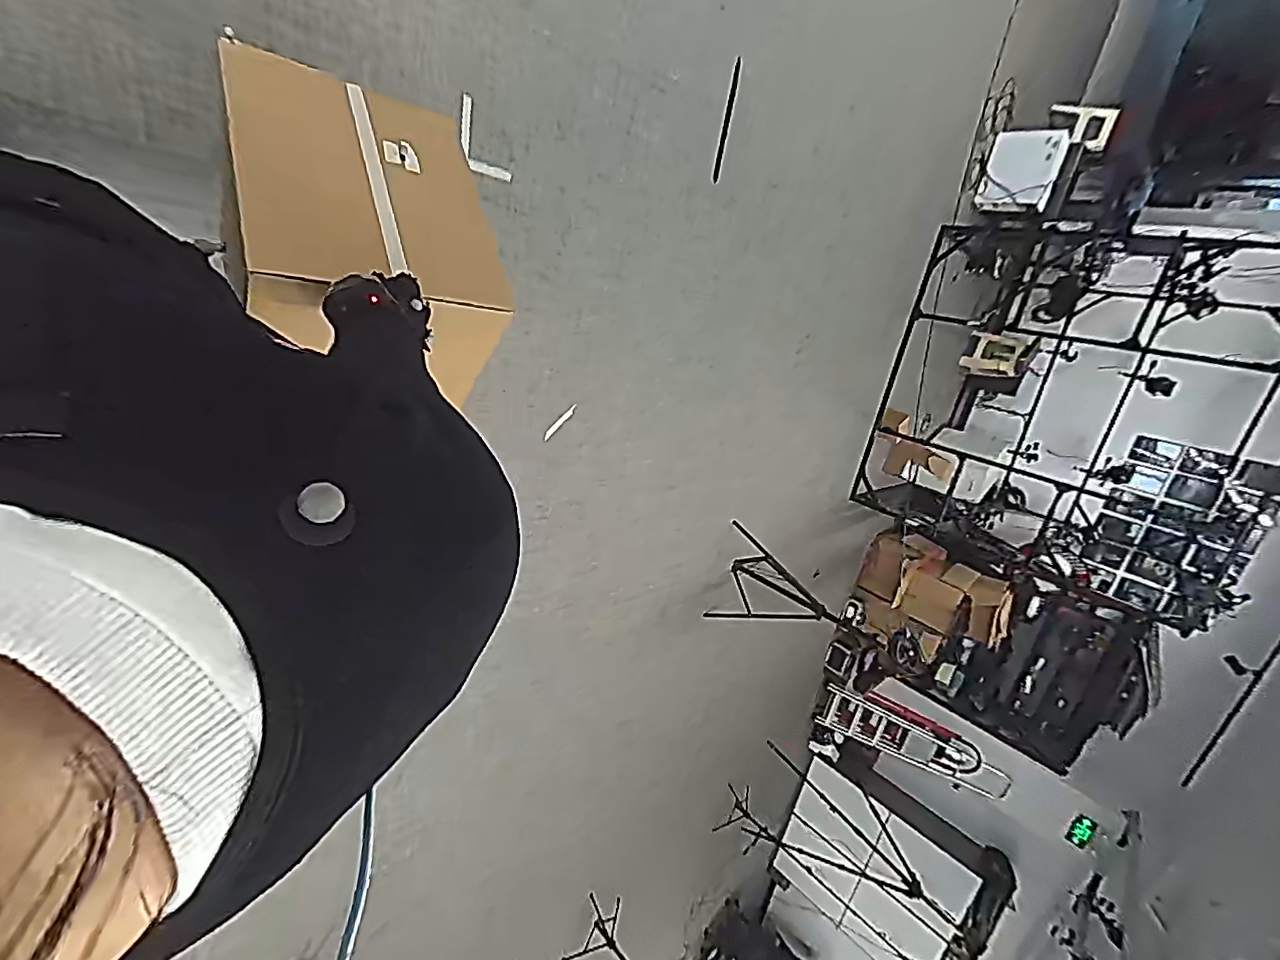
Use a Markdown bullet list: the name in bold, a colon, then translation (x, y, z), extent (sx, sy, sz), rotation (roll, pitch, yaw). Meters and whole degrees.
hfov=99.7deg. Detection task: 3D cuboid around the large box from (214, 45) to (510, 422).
- **large box**: translation (-0.453, -0.338, 0.847), extent (0.320, 0.408, 0.320), rotation (-4, 154, -42)
